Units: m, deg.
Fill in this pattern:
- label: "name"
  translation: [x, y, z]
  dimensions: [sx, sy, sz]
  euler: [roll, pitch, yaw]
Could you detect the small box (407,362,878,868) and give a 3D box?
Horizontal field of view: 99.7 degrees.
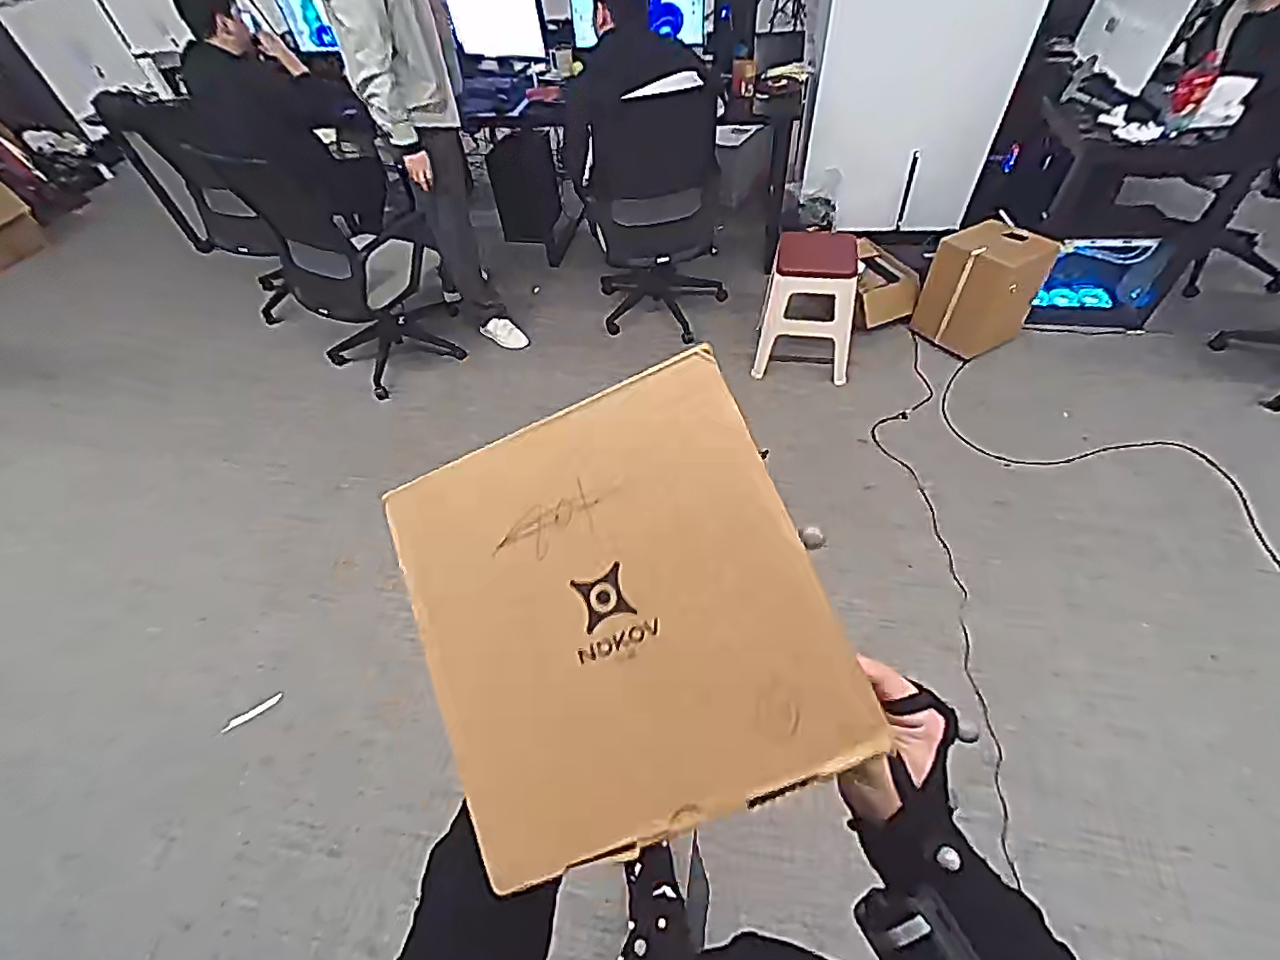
- label: "small box"
  translation: [0.004, 0.069, 0.313]
  dimensions: [0.168, 0.176, 0.179]
  euler: [-24, 73, 4]
